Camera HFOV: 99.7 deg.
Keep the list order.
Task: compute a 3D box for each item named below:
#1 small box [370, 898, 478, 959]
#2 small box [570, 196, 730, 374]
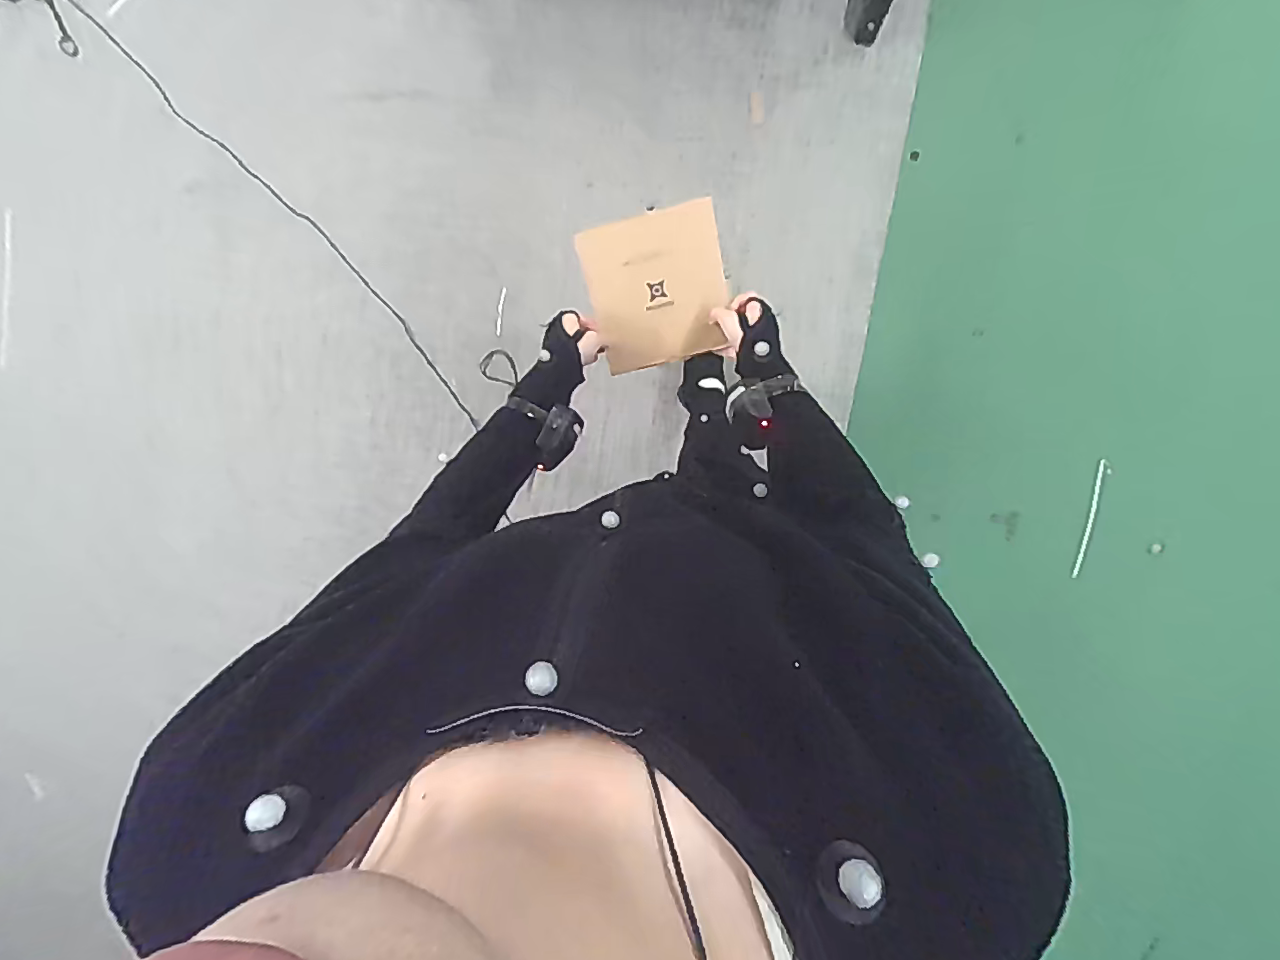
[{"bbox_3d":[-0.440,1.003,1.087,0.168,0.176,0.179,8,93,4],"label":"small box"},{"bbox_3d":[0.015,-0.264,0.718,0.168,0.176,0.179,-13,117,4],"label":"small box"}]
